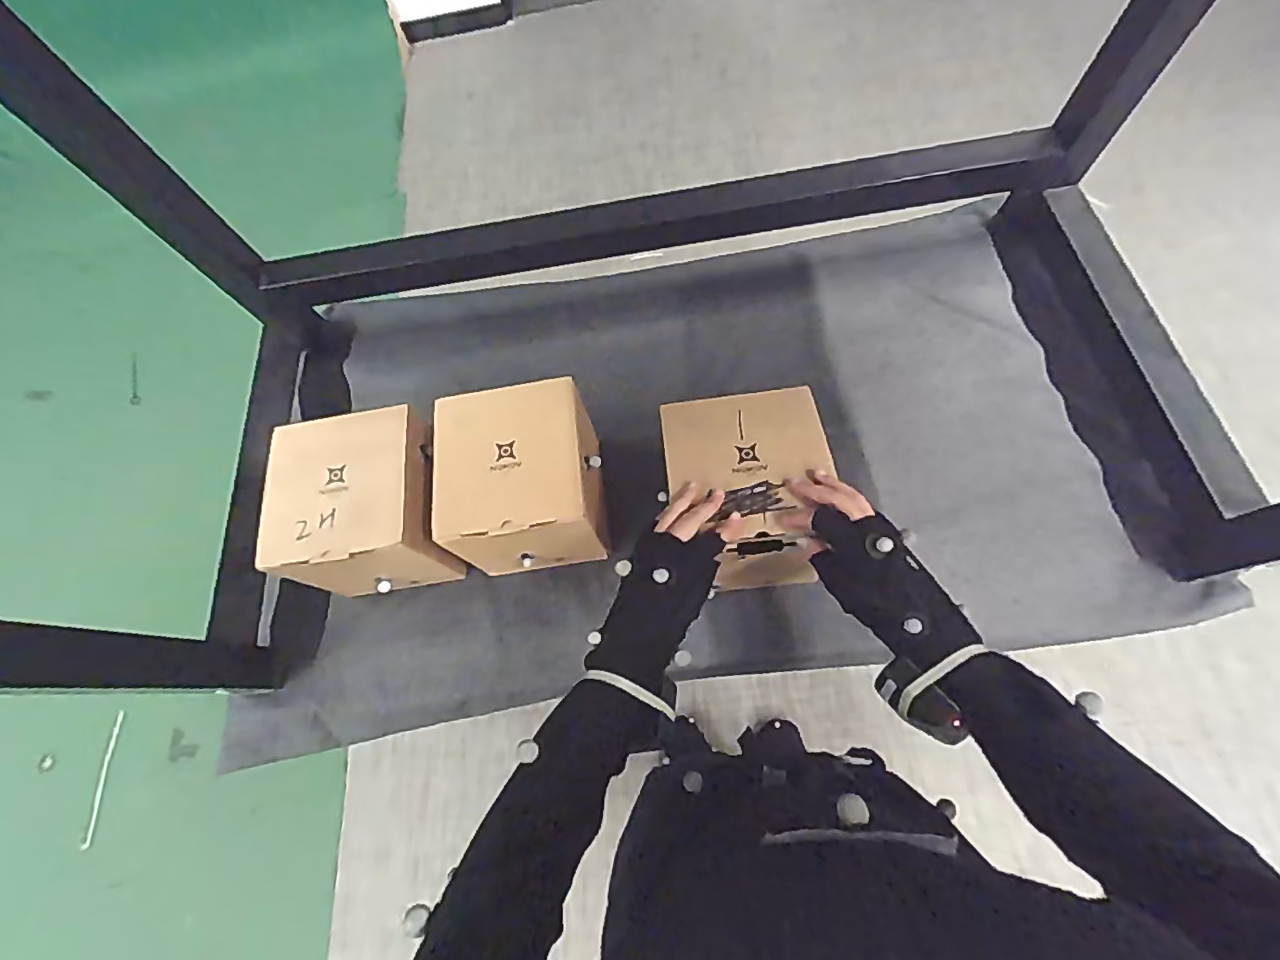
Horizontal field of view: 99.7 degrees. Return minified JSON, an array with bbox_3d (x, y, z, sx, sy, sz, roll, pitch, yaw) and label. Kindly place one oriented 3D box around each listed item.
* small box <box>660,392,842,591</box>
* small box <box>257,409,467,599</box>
[{"bbox_3d":[0.117,0.025,0.624,0.168,0.176,0.179,-6,64,4],"label":"small box"},{"bbox_3d":[-0.328,0.038,0.677,0.168,0.176,0.179,-10,67,3],"label":"small box"}]
